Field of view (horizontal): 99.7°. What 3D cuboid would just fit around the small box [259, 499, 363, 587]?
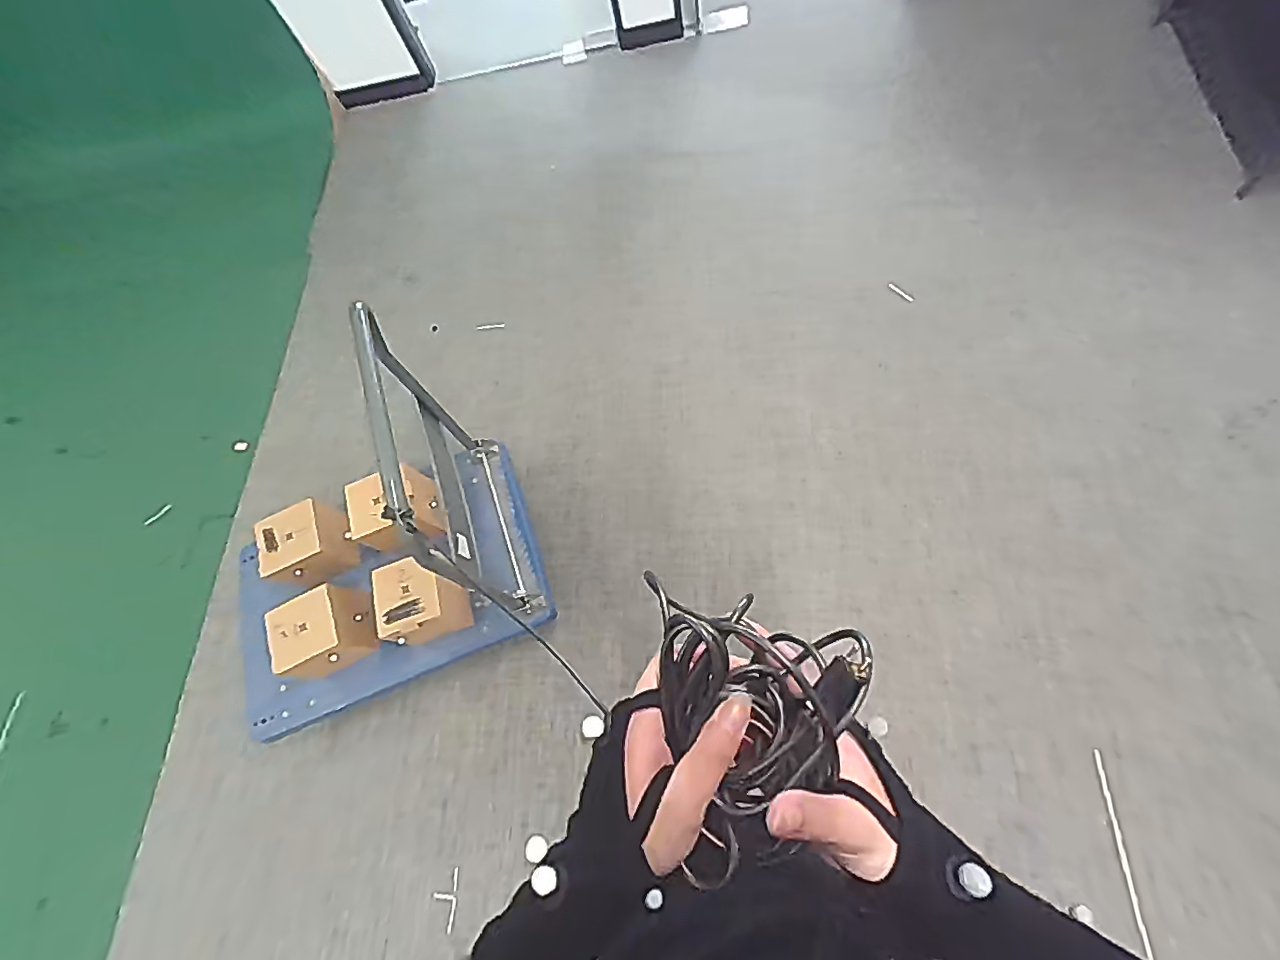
[{"bbox_3d":[-0.907,0.182,1.498,0.179,0.176,0.168,-25,67,0],"label":"small box"}]

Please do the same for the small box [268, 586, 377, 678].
[{"bbox_3d":[-0.807,0.395,1.394,0.179,0.176,0.168,-27,65,0],"label":"small box"}]

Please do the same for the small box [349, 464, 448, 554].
[{"bbox_3d":[-0.661,0.086,1.489,0.179,0.176,0.168,-22,66,2],"label":"small box"}]
